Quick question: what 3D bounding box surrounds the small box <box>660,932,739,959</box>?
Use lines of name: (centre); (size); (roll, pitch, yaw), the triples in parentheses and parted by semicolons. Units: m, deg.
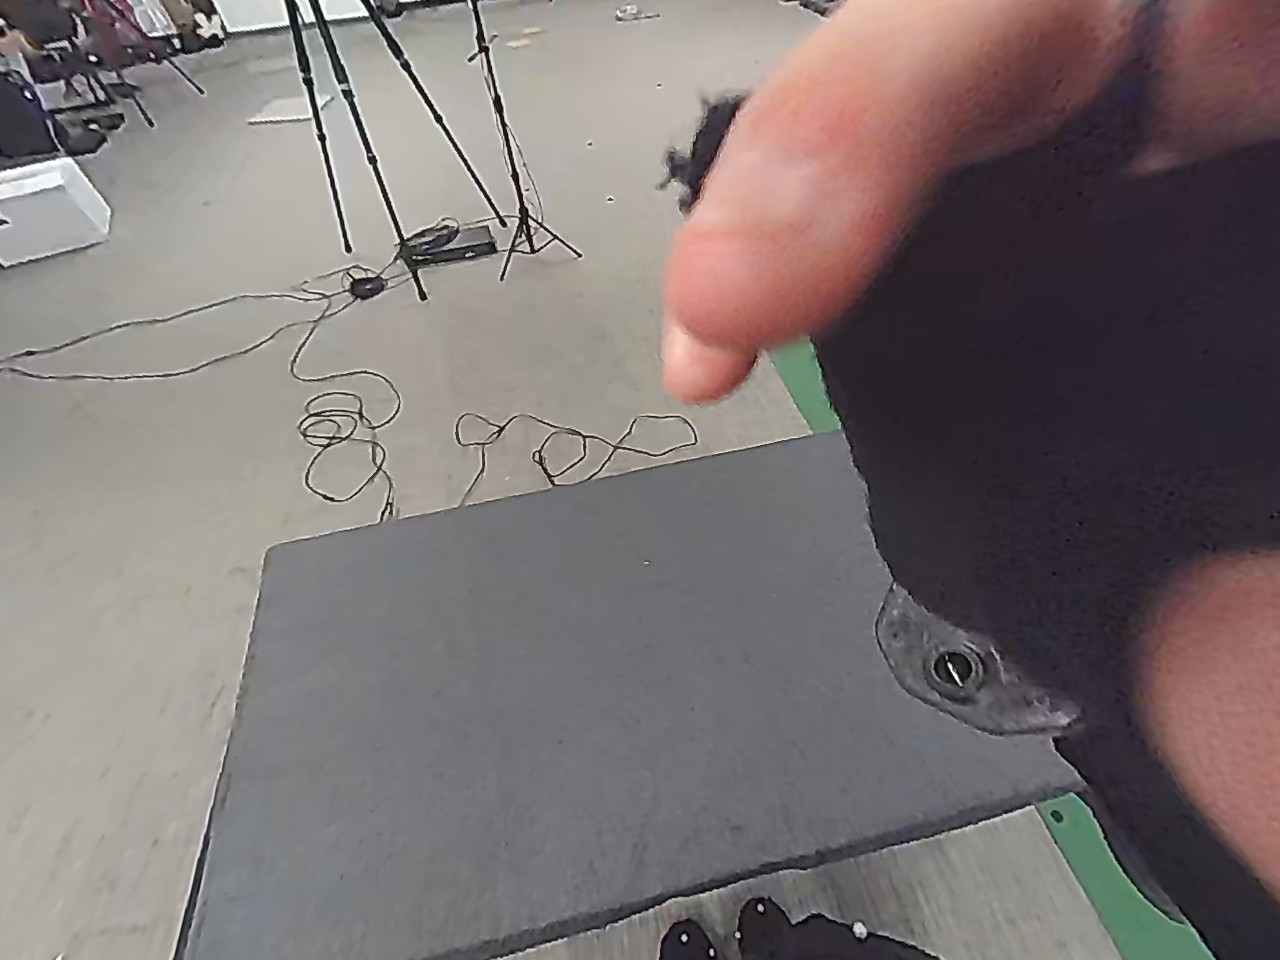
small box: (0.120, 0.988, 1.006); (0.179, 0.176, 0.168); (8, 62, 33)
